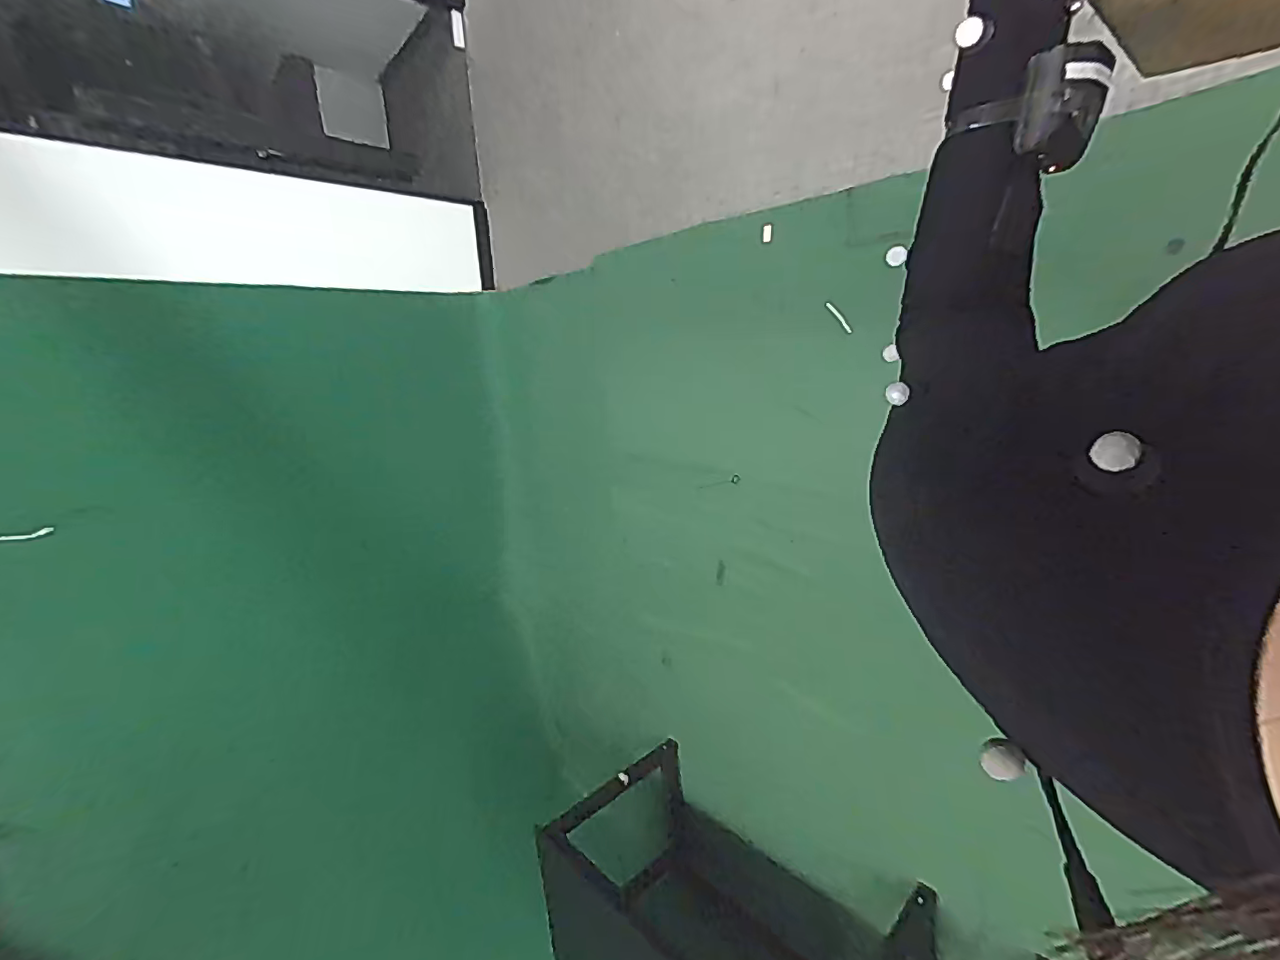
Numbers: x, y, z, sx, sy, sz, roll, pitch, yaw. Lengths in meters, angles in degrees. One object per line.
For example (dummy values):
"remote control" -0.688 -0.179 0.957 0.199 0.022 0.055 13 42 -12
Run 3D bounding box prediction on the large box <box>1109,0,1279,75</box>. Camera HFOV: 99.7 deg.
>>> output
"large box" 0.514 -0.464 0.252 0.408 0.320 0.320 15 117 44
